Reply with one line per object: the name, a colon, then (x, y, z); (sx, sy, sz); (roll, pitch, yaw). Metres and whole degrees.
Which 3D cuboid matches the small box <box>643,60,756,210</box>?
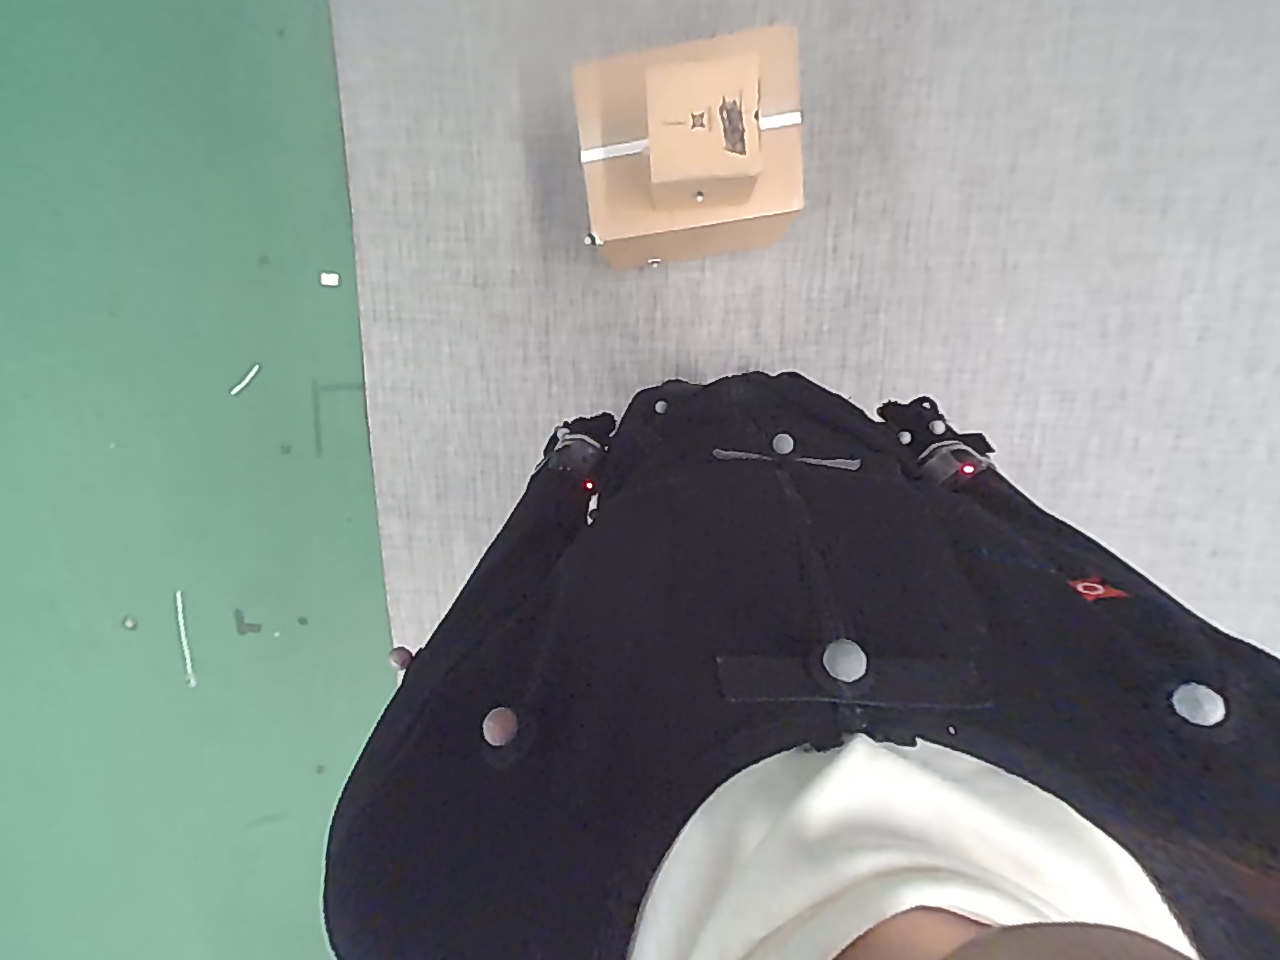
small box: (0.100, -0.580, 0.931); (0.179, 0.176, 0.168); (-2, 101, 6)
